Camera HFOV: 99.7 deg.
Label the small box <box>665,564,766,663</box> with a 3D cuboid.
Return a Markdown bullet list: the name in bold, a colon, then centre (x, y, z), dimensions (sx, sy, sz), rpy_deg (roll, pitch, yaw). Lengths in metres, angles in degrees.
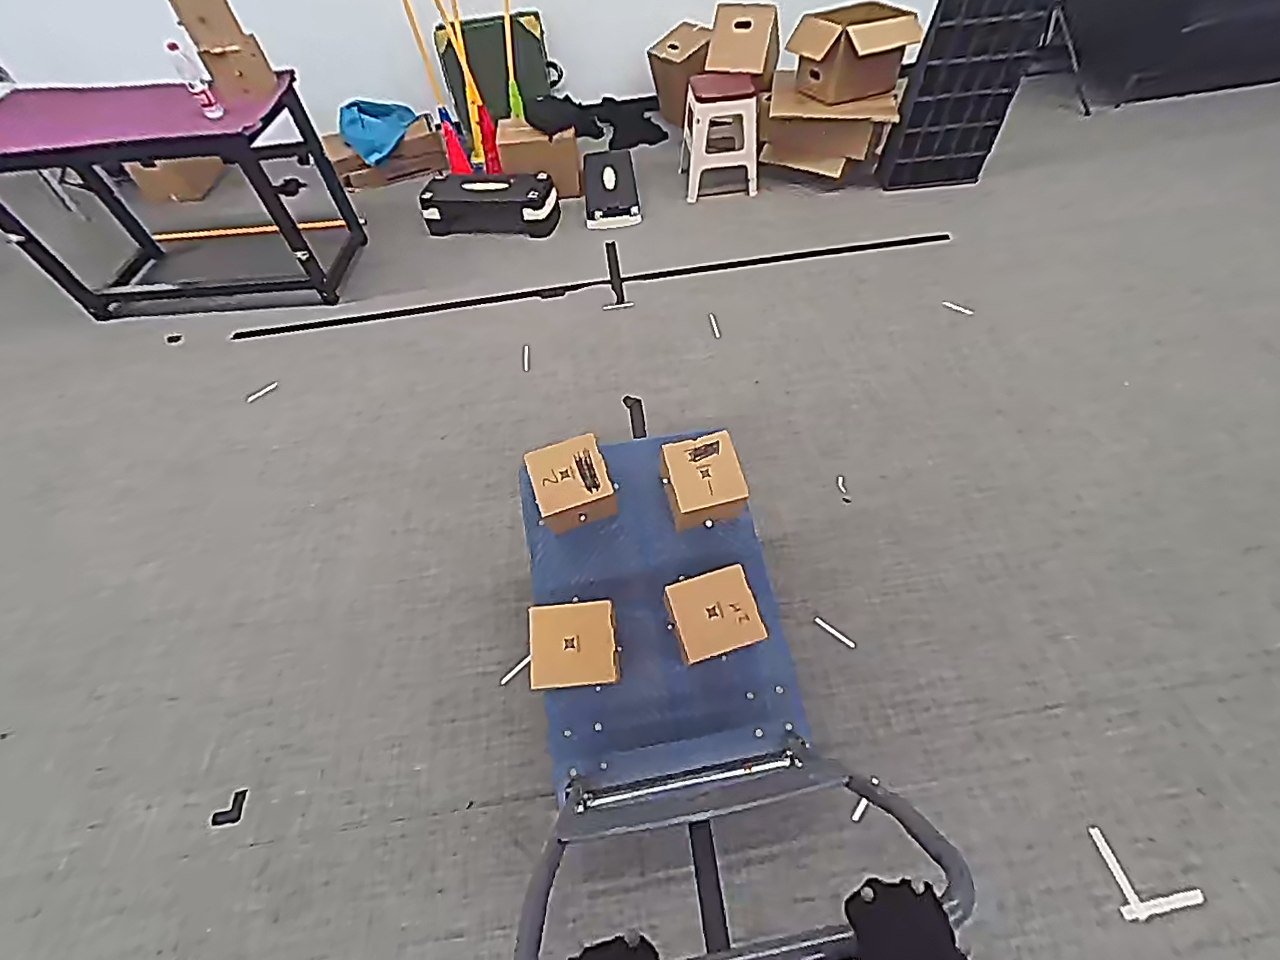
- **small box**: centre (0.161, 0.306, 1.214), dimensions (0.179, 0.176, 0.168), rpy_deg (-17, 70, -5)

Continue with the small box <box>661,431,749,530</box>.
- **small box**: centre (0.150, 0.006, 1.328), dimensions (0.168, 0.176, 0.179), rpy_deg (-14, 71, -4)

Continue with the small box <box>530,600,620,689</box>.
- **small box**: centre (-0.140, 0.369, 1.196), dimensions (0.179, 0.176, 0.168), rpy_deg (-5, 69, -3)
